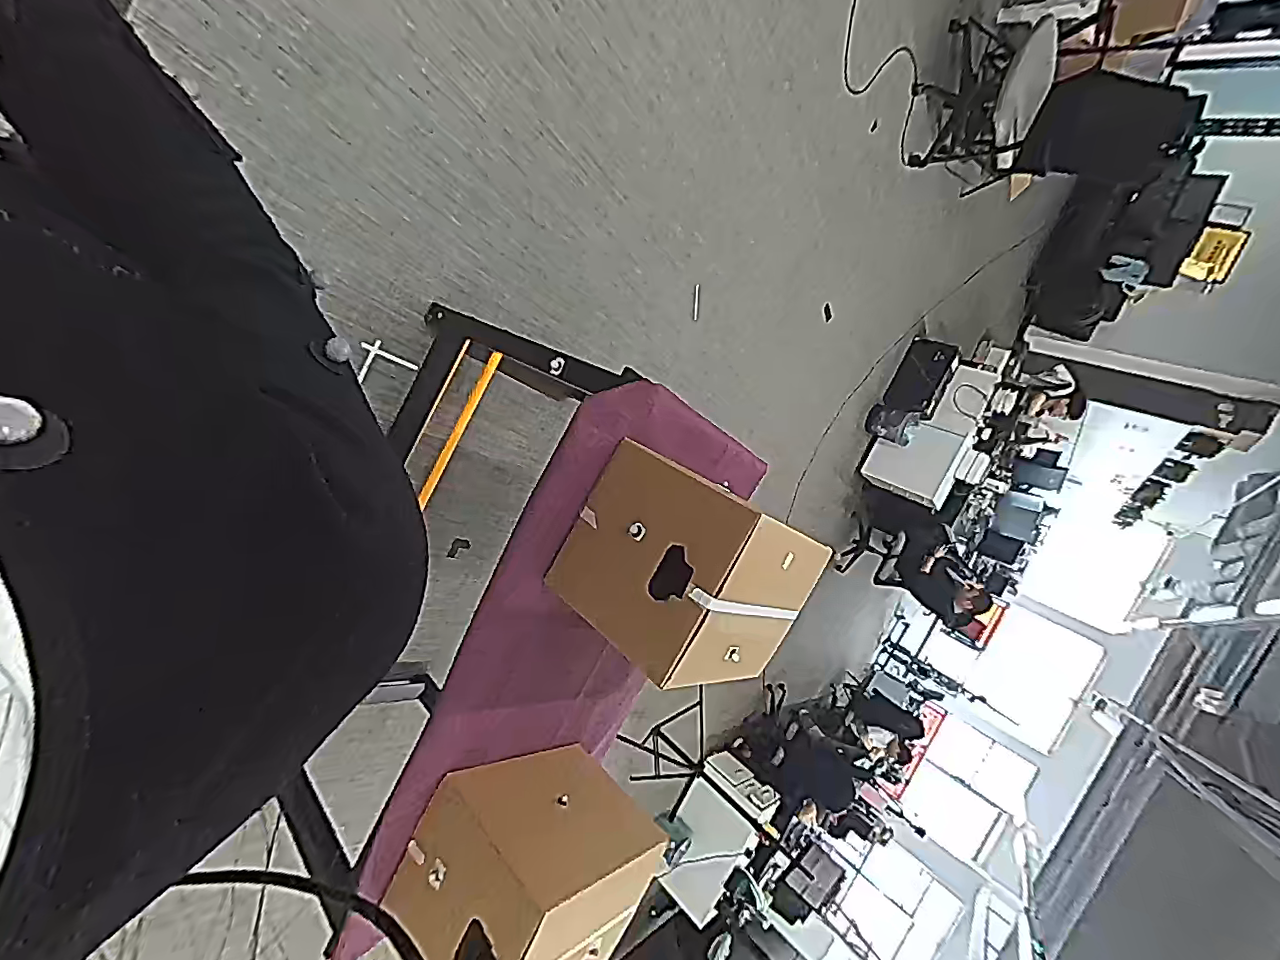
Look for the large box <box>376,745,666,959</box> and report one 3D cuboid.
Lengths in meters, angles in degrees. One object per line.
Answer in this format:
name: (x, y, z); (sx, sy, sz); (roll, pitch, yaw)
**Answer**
large box: (-0.224, 0.791, 1.079); (0.408, 0.320, 0.320); (24, 94, -55)
